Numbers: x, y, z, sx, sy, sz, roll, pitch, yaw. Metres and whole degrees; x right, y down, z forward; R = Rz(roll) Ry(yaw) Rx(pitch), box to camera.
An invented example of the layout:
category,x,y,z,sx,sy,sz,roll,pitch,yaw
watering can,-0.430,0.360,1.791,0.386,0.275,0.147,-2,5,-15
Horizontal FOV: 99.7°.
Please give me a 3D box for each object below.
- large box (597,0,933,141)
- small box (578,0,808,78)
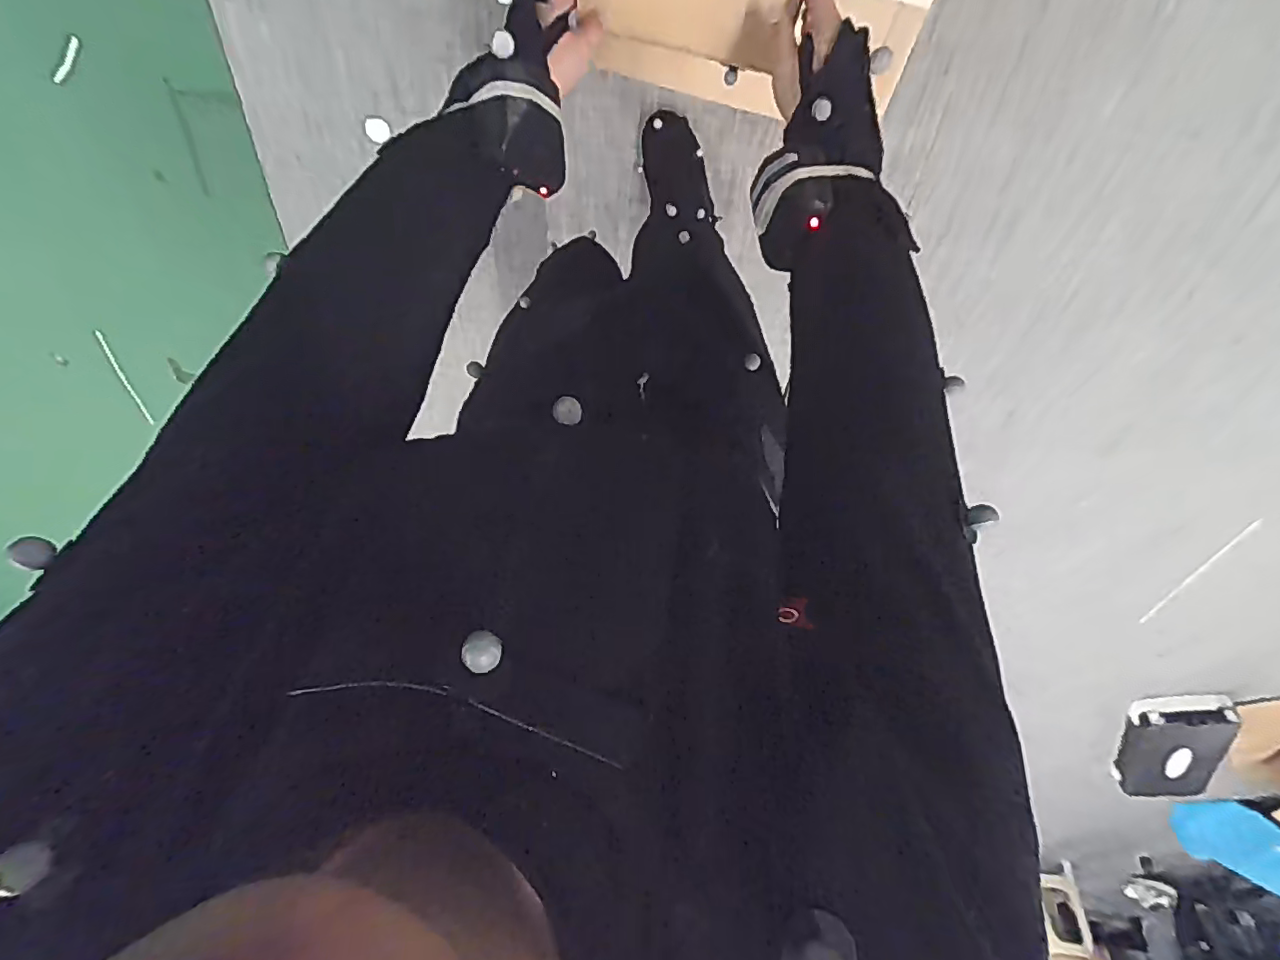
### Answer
category,x,y,z,sx,sy,sz,roll,pitch,yaw
large box,0.173,-0.716,0.754,0.408,0.320,0.320,12,132,-4
small box,0.057,-0.455,0.453,0.179,0.176,0.168,11,127,-3
